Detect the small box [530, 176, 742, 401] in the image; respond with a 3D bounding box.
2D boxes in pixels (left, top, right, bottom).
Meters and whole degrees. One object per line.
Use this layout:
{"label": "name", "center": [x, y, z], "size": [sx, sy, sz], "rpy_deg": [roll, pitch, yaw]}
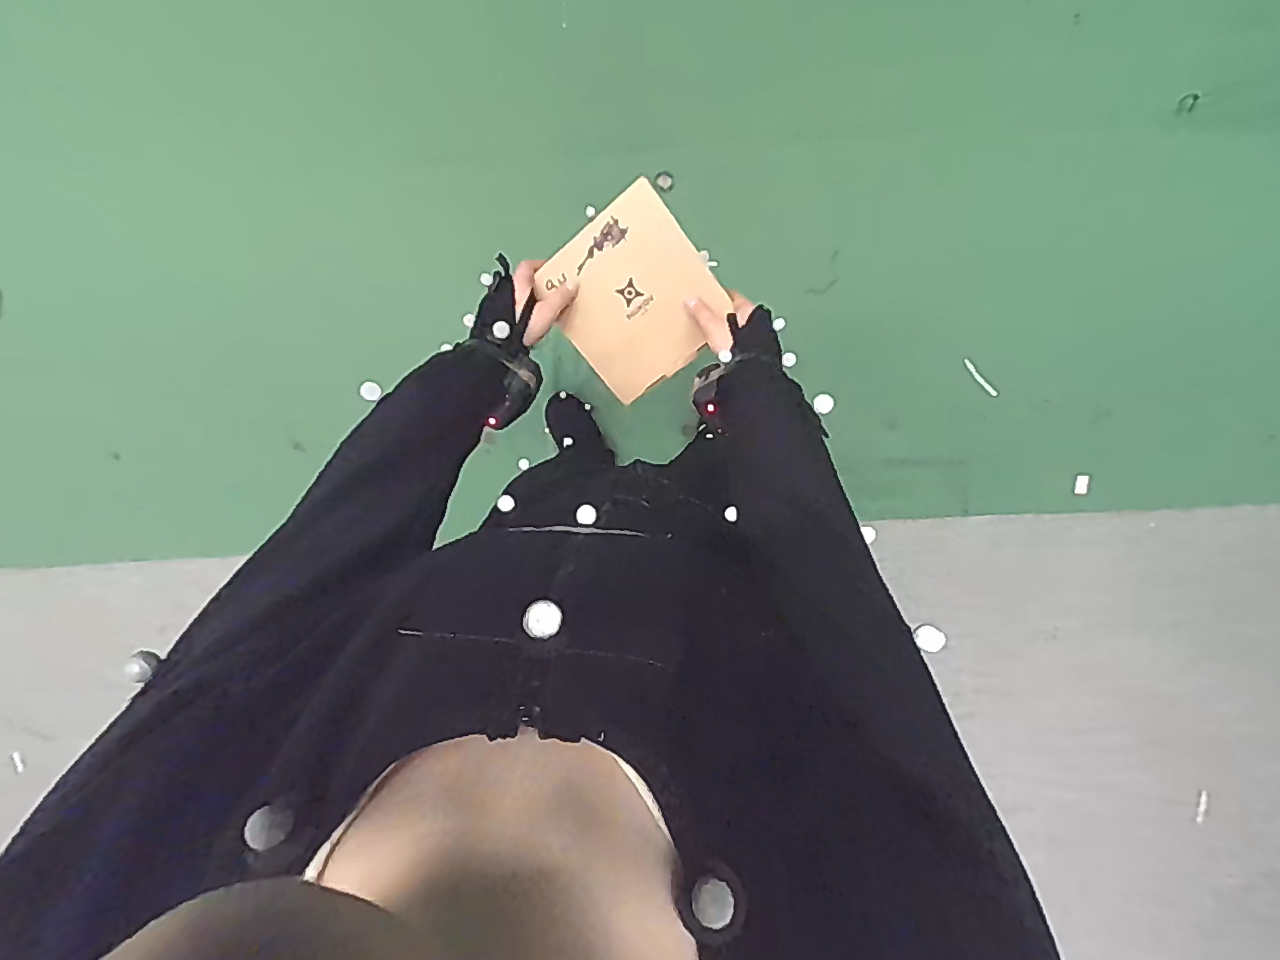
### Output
{"label": "small box", "center": [-0.001, -0.228, 0.652], "size": [0.168, 0.176, 0.179], "rpy_deg": [-36, 108, 14]}
